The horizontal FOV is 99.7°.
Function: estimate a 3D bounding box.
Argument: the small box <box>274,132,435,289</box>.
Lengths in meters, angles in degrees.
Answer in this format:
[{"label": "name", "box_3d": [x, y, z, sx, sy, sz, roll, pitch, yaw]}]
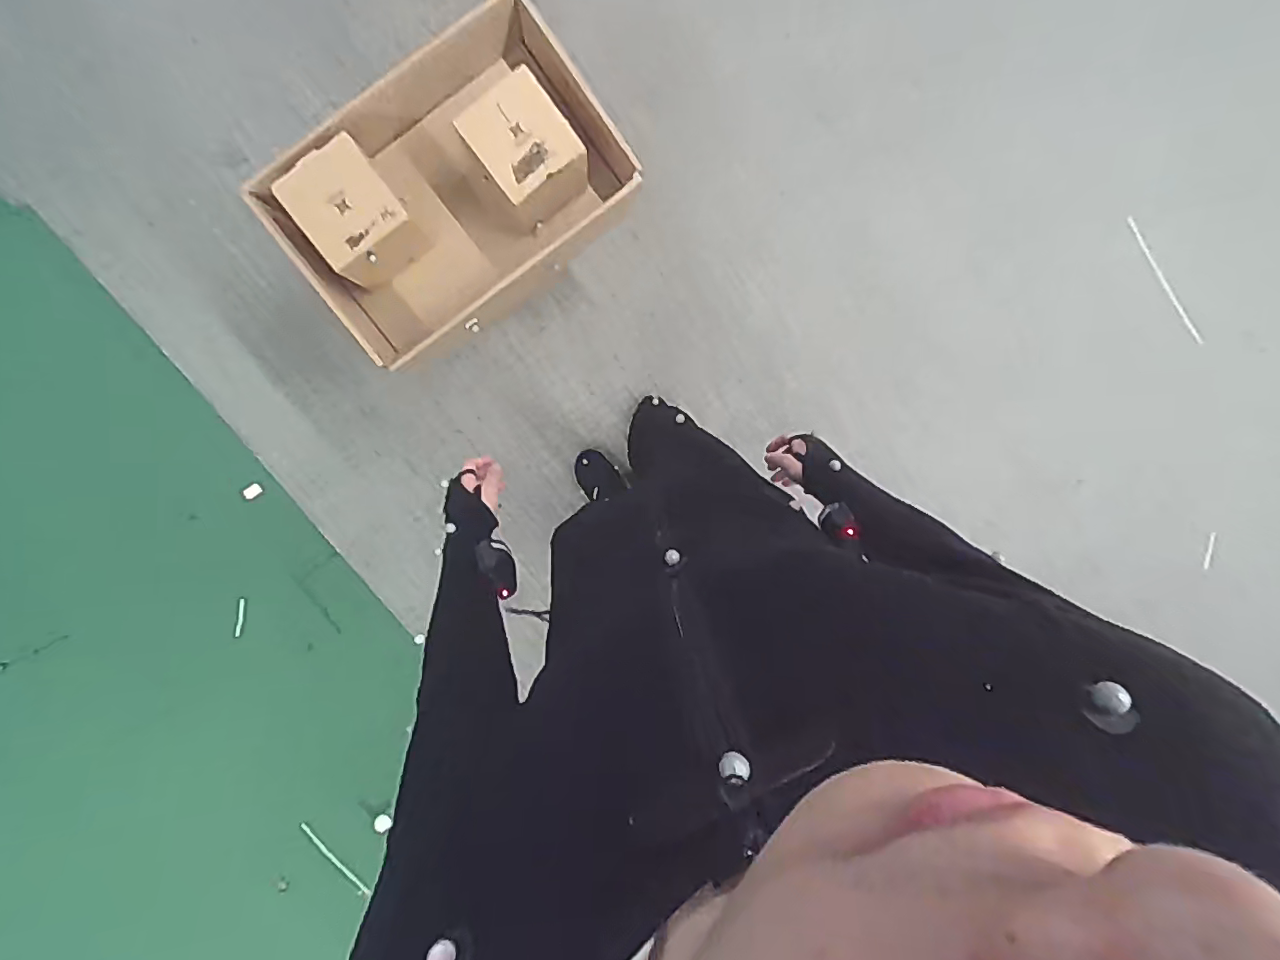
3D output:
[{"label": "small box", "box_3d": [-0.520, -0.491, 1.013, 0.168, 0.176, 0.179, -35, 98, -1]}]
